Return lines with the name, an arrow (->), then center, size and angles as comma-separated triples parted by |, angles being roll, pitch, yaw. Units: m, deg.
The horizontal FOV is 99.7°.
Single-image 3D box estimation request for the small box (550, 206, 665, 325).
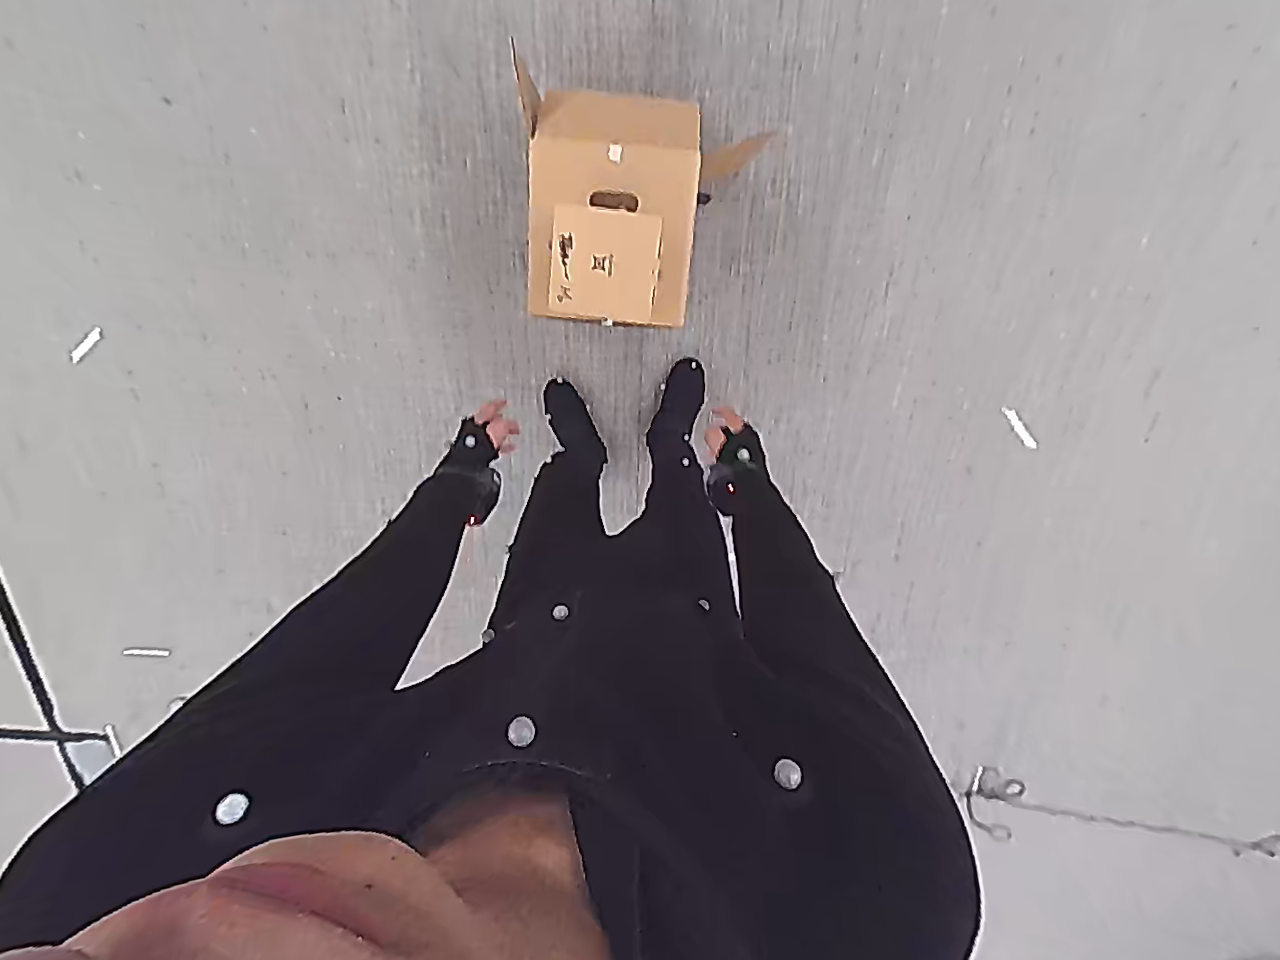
small box -> -0.056, -0.381, 0.967 | 0.179, 0.176, 0.168 | 7, 111, -3
